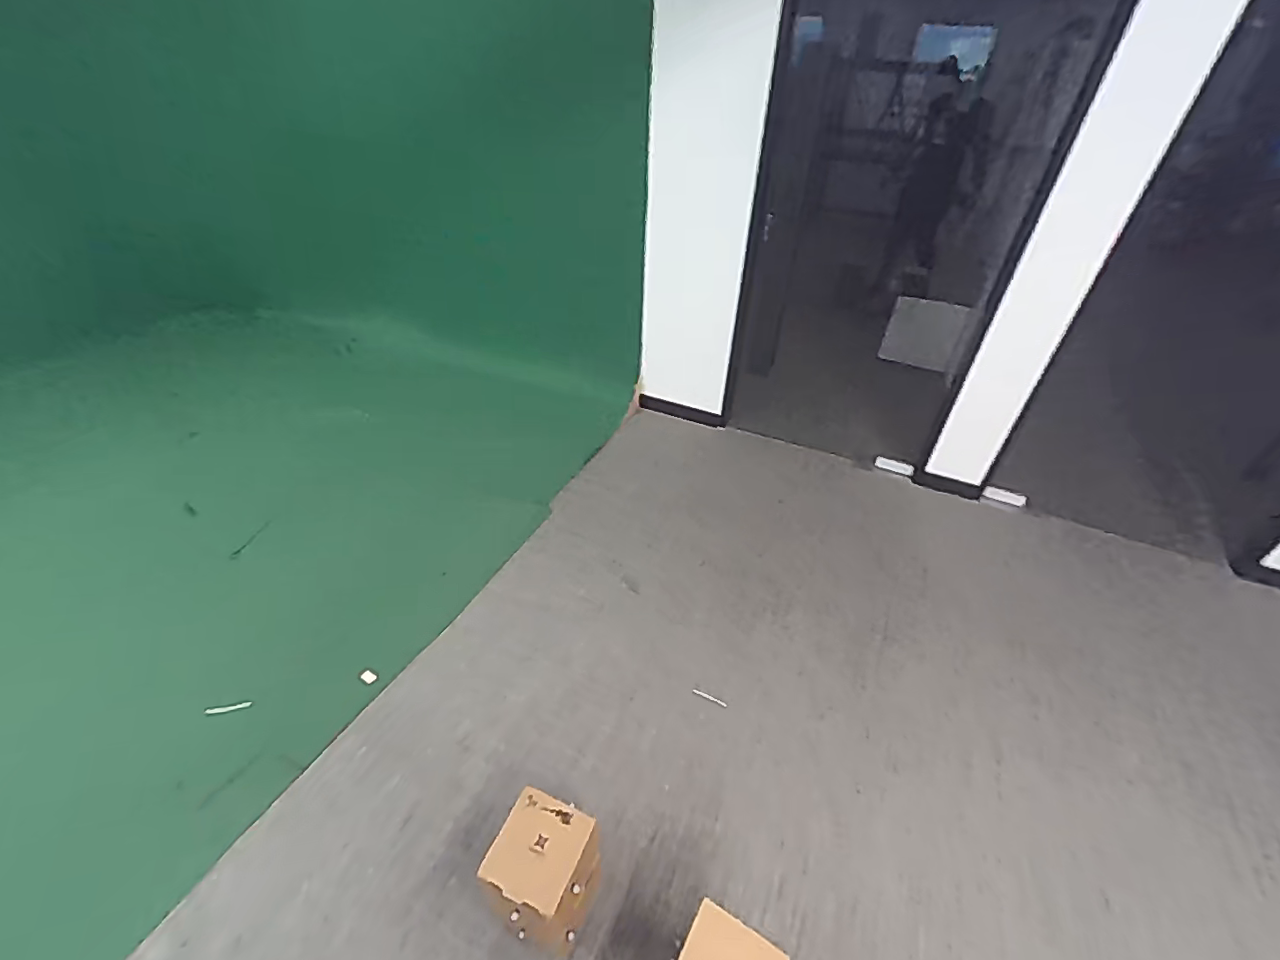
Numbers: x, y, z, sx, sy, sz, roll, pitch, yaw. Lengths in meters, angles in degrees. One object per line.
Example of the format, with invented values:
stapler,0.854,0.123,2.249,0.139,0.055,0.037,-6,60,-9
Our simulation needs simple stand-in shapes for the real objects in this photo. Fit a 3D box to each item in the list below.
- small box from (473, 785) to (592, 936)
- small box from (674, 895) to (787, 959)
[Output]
small box,-0.203,0.764,1.084,0.168,0.176,0.179,17,42,17
small box,0.136,0.892,0.948,0.168,0.176,0.179,22,43,22
